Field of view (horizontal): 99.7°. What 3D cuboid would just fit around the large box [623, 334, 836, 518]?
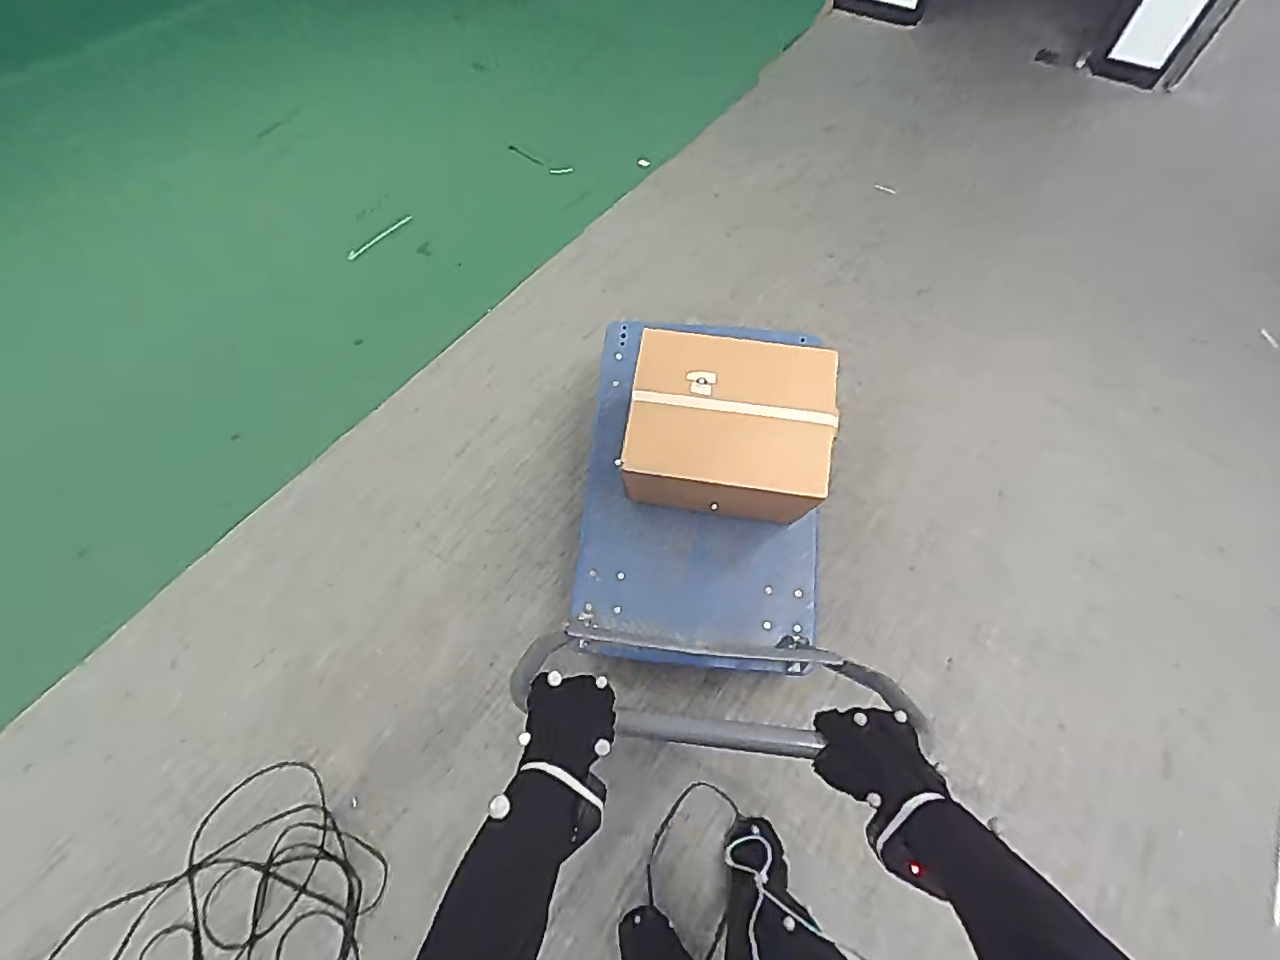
[{"bbox_3d":[0.194,-0.104,1.218,0.408,0.320,0.320,7,76,6],"label":"large box"}]
